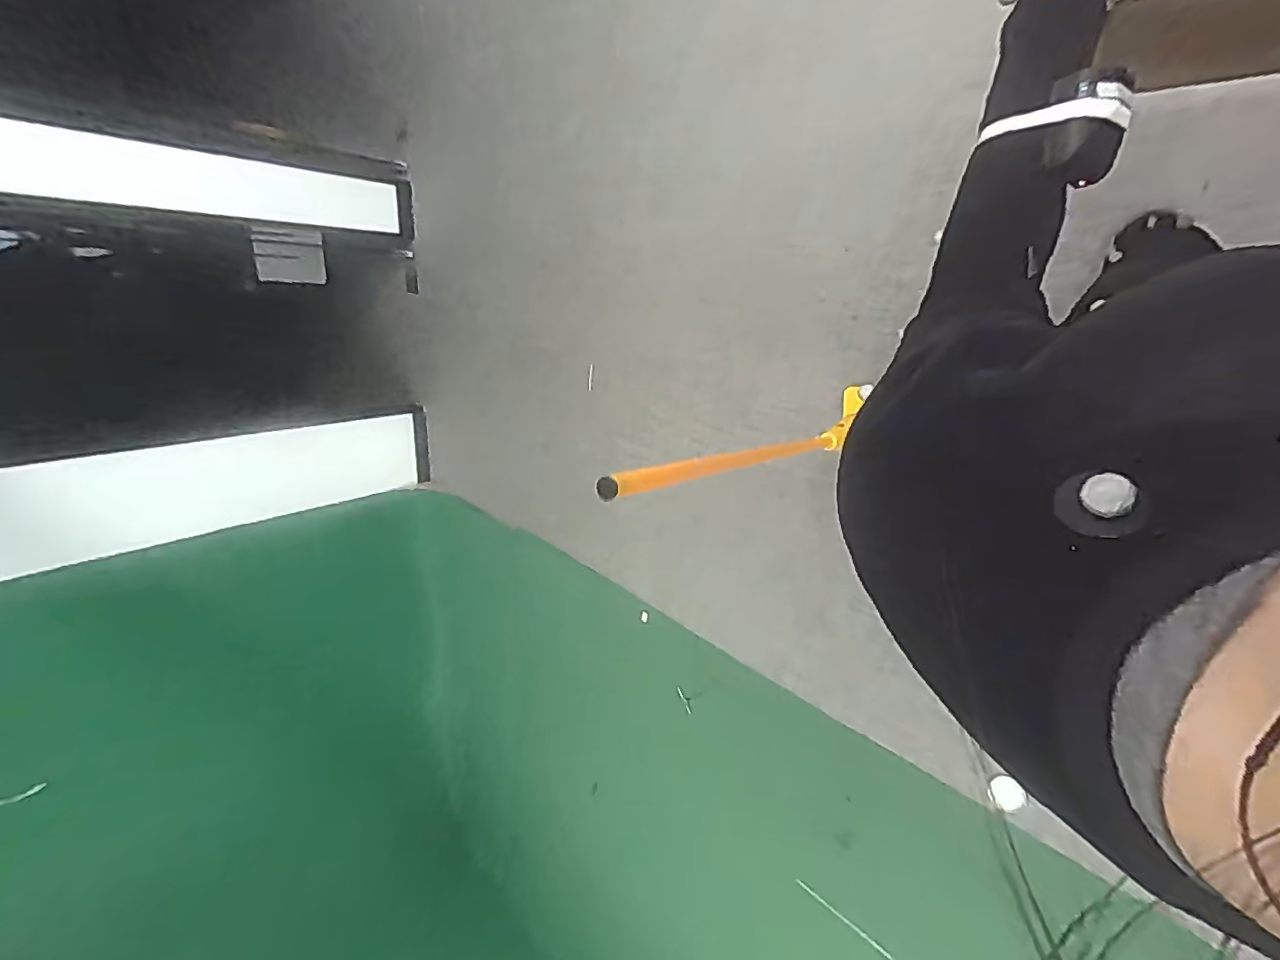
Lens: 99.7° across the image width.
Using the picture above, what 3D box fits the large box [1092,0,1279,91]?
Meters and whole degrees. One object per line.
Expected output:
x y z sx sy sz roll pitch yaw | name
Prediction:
0.555 -0.467 0.304 0.408 0.320 0.320 13 116 33 | large box
